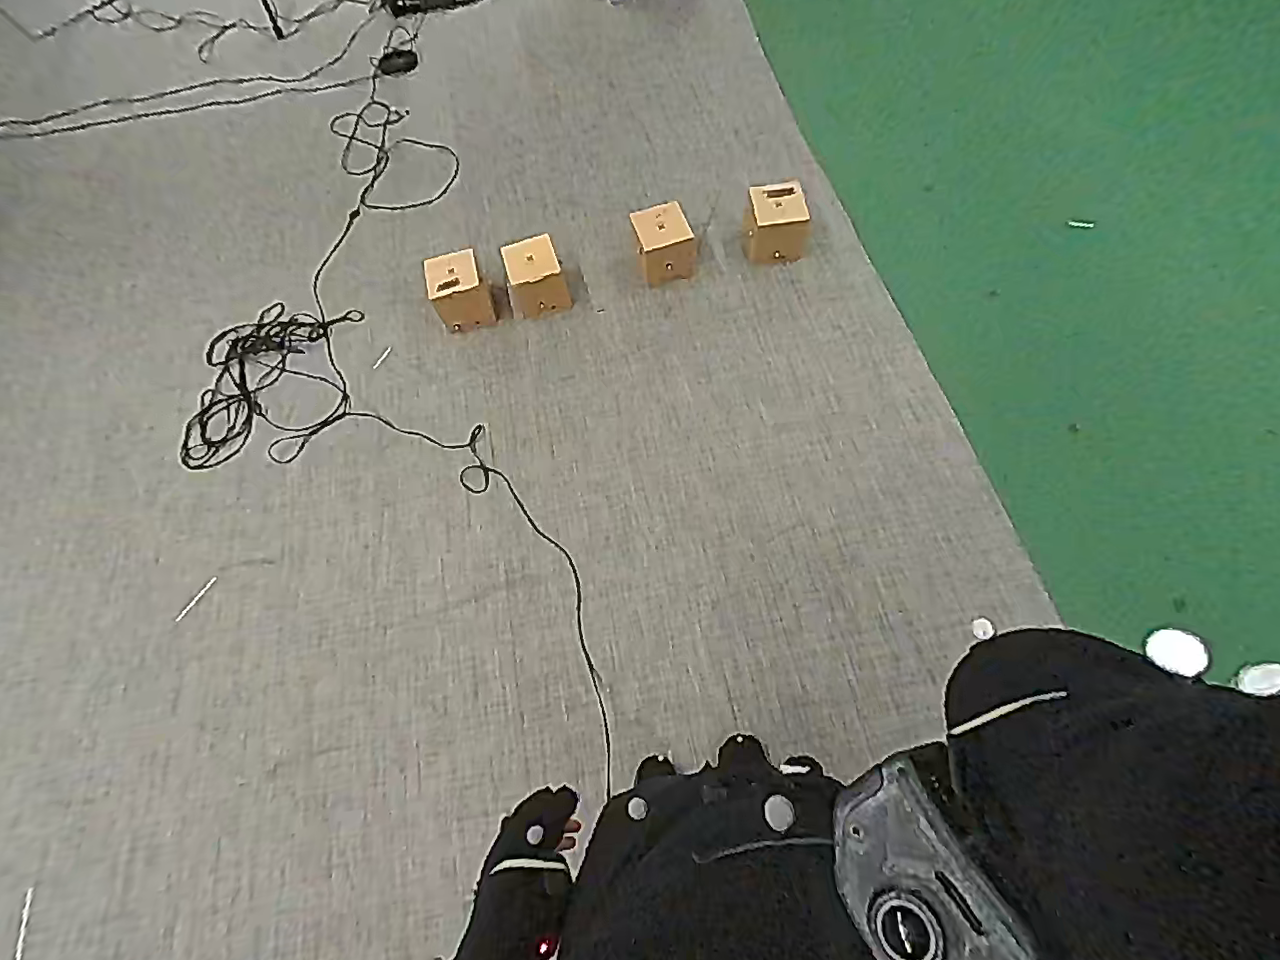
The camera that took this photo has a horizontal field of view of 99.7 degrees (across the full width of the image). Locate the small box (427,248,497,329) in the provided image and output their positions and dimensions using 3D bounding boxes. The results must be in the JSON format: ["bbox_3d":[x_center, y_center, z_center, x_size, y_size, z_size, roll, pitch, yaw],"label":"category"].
[{"bbox_3d":[-0.585,-0.623,1.789,0.168,0.176,0.179,-15,65,-2],"label":"small box"}]

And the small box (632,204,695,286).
[{"bbox_3d":[0.080,-0.771,1.795,0.168,0.176,0.179,-17,66,-4],"label":"small box"}]

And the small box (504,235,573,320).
[{"bbox_3d":[-0.333,-0.665,1.785,0.168,0.176,0.179,-18,67,-3],"label":"small box"}]
